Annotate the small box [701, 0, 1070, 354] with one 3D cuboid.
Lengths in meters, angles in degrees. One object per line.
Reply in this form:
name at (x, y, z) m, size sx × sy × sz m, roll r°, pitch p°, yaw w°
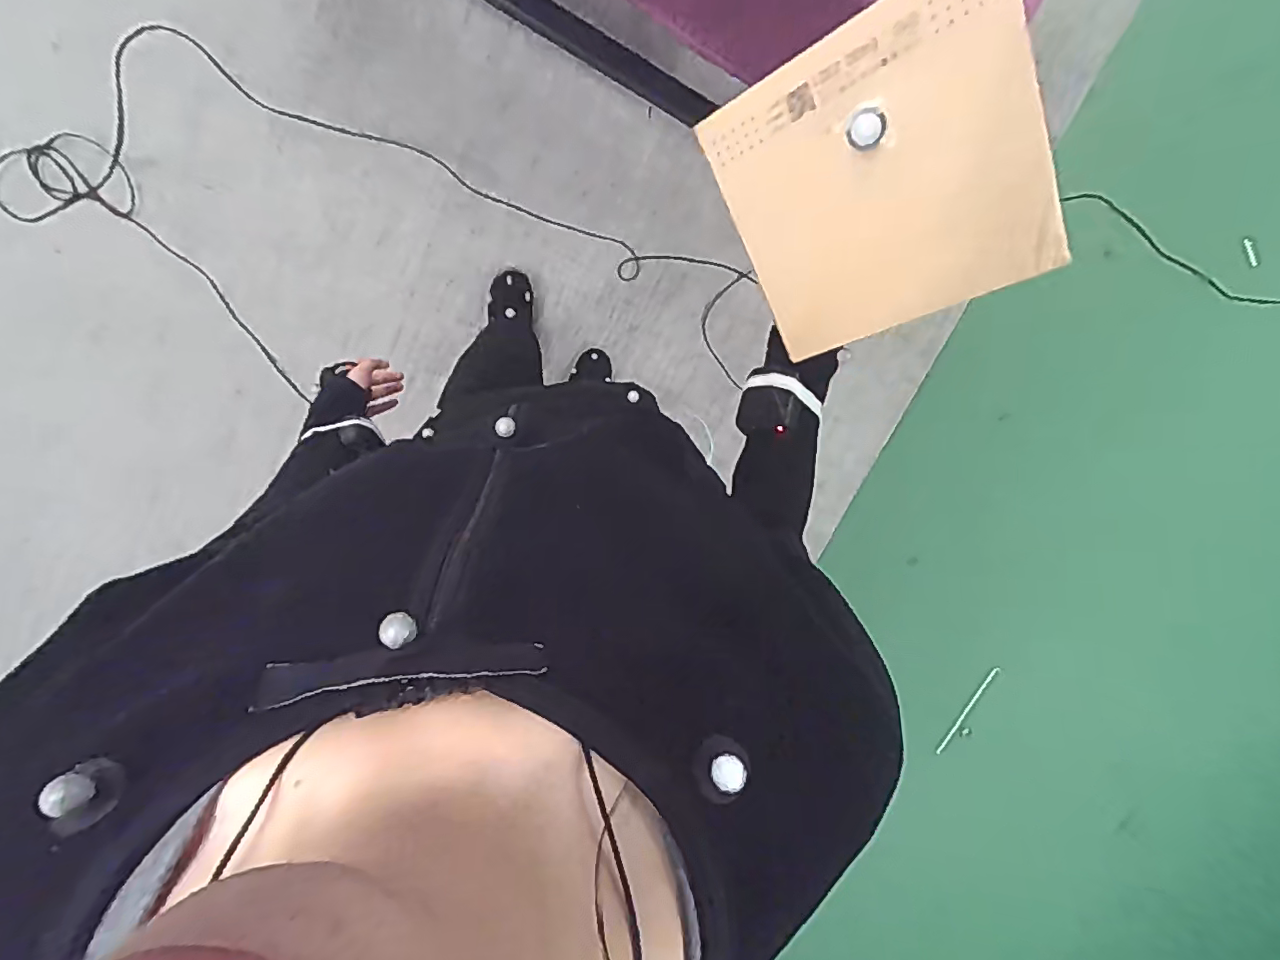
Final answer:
small box at (0.166, -0.222, 0.380) m, size 0.168 × 0.179 × 0.176 m, roll -17°, pitch 114°, yaw 34°
